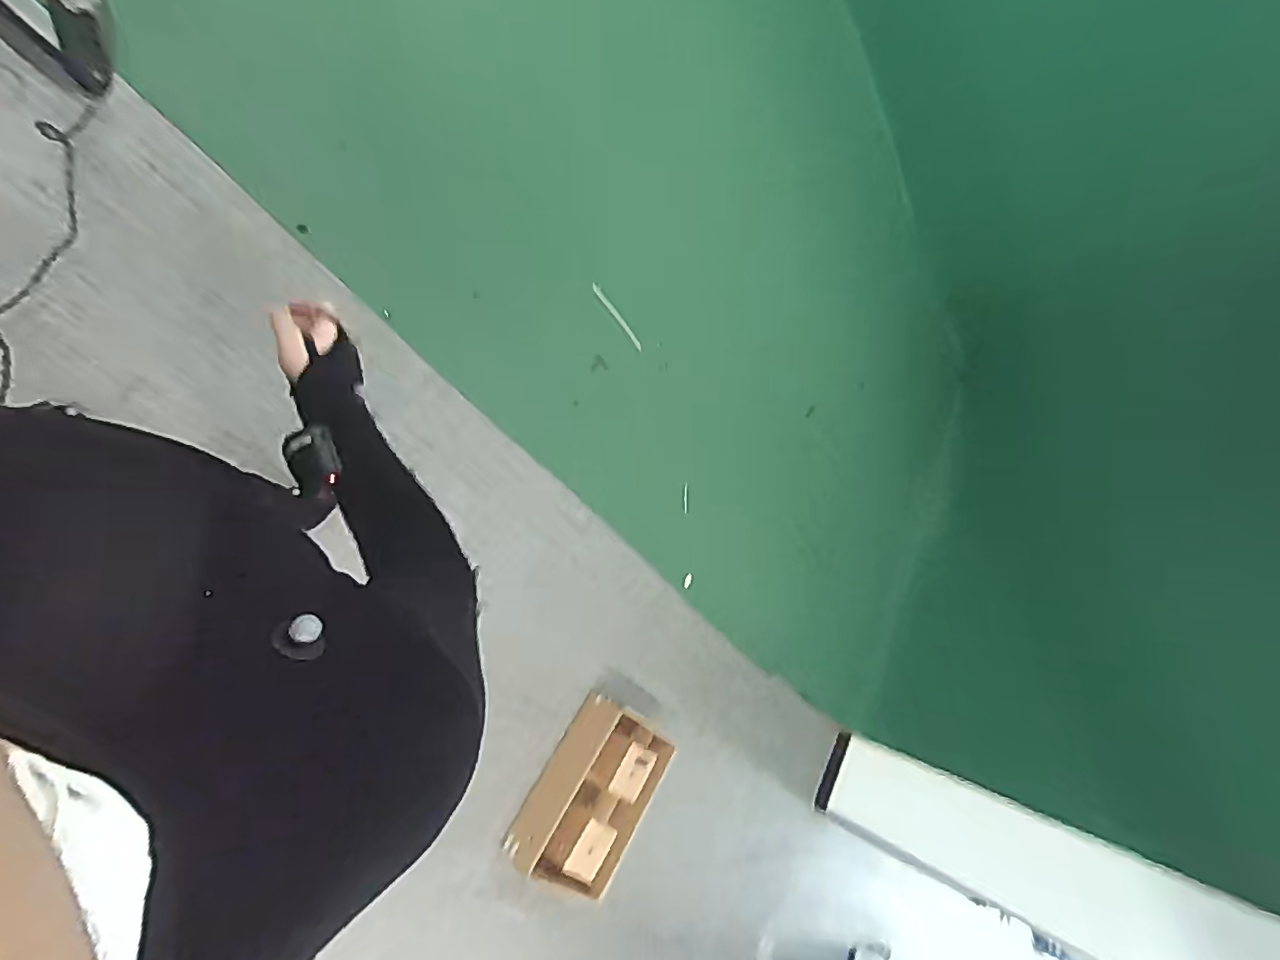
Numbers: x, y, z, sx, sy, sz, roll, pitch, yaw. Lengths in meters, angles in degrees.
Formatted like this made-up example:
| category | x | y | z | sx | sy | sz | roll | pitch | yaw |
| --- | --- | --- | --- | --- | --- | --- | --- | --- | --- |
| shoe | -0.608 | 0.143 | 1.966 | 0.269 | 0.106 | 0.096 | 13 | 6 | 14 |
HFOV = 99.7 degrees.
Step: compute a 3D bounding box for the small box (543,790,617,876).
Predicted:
| category | x | y | z | sx | sy | sz | roll | pitch | yaw |
| --- | --- | --- | --- | --- | --- | --- | --- | --- | --- |
| small box | -0.224 | 1.269 | 1.951 | 0.179 | 0.176 | 0.168 | -53 | 124 | -24 |
